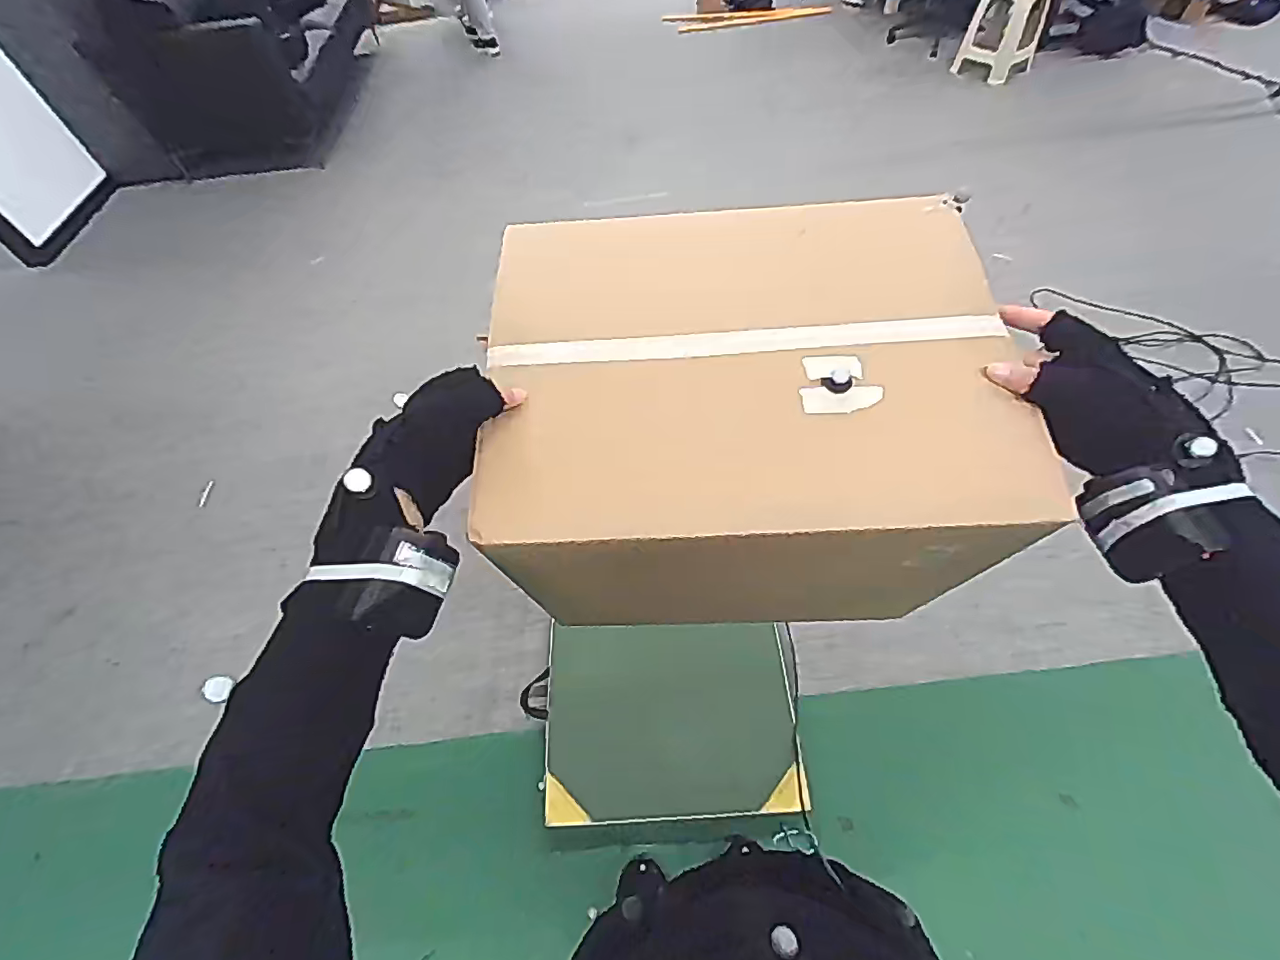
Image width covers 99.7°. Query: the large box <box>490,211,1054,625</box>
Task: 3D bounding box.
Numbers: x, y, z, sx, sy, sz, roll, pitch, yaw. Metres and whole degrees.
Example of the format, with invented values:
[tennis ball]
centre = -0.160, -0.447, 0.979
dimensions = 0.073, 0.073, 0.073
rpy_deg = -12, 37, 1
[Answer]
[large box]
centre = 0.090, -0.038, 0.574
dimensions = 0.408, 0.320, 0.320
rpy_deg = -2, 65, 2
